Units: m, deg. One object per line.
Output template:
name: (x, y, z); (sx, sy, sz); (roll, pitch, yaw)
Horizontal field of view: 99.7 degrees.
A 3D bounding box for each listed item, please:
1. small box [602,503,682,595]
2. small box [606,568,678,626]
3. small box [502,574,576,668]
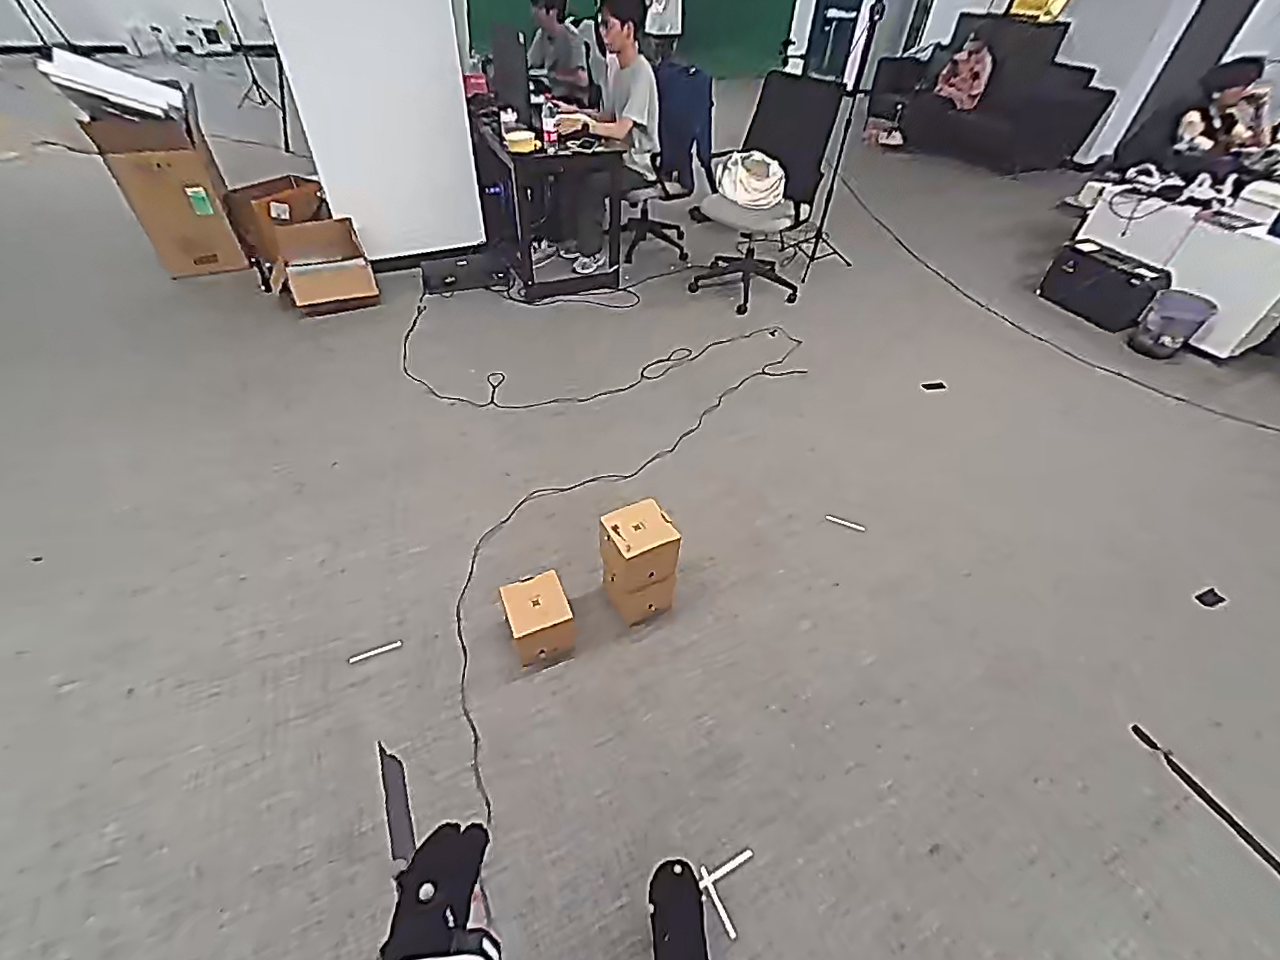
small box: (-0.001, 0.199, 1.550); (0.179, 0.176, 0.168); (-18, 48, -22)
small box: (-0.002, 0.316, 1.666); (0.168, 0.176, 0.179); (-19, 49, -21)
small box: (-0.290, 0.408, 1.558); (0.168, 0.176, 0.179); (-16, 49, -18)
